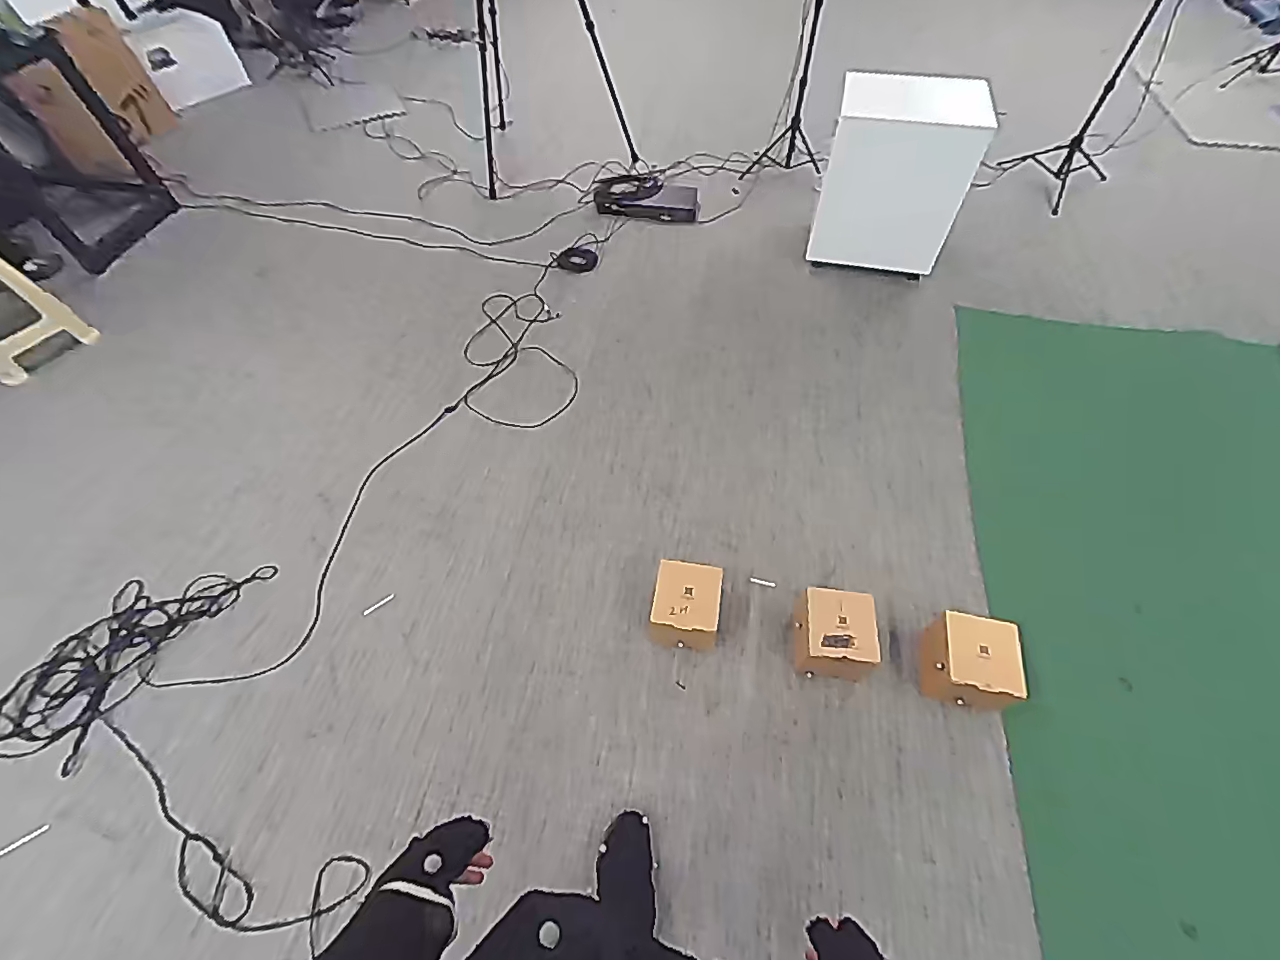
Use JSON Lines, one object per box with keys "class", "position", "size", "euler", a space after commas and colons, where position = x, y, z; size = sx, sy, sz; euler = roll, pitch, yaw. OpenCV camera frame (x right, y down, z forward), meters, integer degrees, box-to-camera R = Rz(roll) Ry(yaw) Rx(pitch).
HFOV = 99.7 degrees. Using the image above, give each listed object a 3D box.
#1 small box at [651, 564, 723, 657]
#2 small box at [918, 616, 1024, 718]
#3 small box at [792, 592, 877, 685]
{"class": "small box", "position": [0.122, 0.346, 1.427], "size": [0.168, 0.176, 0.179], "euler": [8, 56, 8]}
{"class": "small box", "position": [0.805, 0.465, 1.336], "size": [0.168, 0.176, 0.179], "euler": [10, 56, 9]}
{"class": "small box", "position": [0.488, 0.409, 1.379], "size": [0.168, 0.176, 0.179], "euler": [6, 55, 5]}
